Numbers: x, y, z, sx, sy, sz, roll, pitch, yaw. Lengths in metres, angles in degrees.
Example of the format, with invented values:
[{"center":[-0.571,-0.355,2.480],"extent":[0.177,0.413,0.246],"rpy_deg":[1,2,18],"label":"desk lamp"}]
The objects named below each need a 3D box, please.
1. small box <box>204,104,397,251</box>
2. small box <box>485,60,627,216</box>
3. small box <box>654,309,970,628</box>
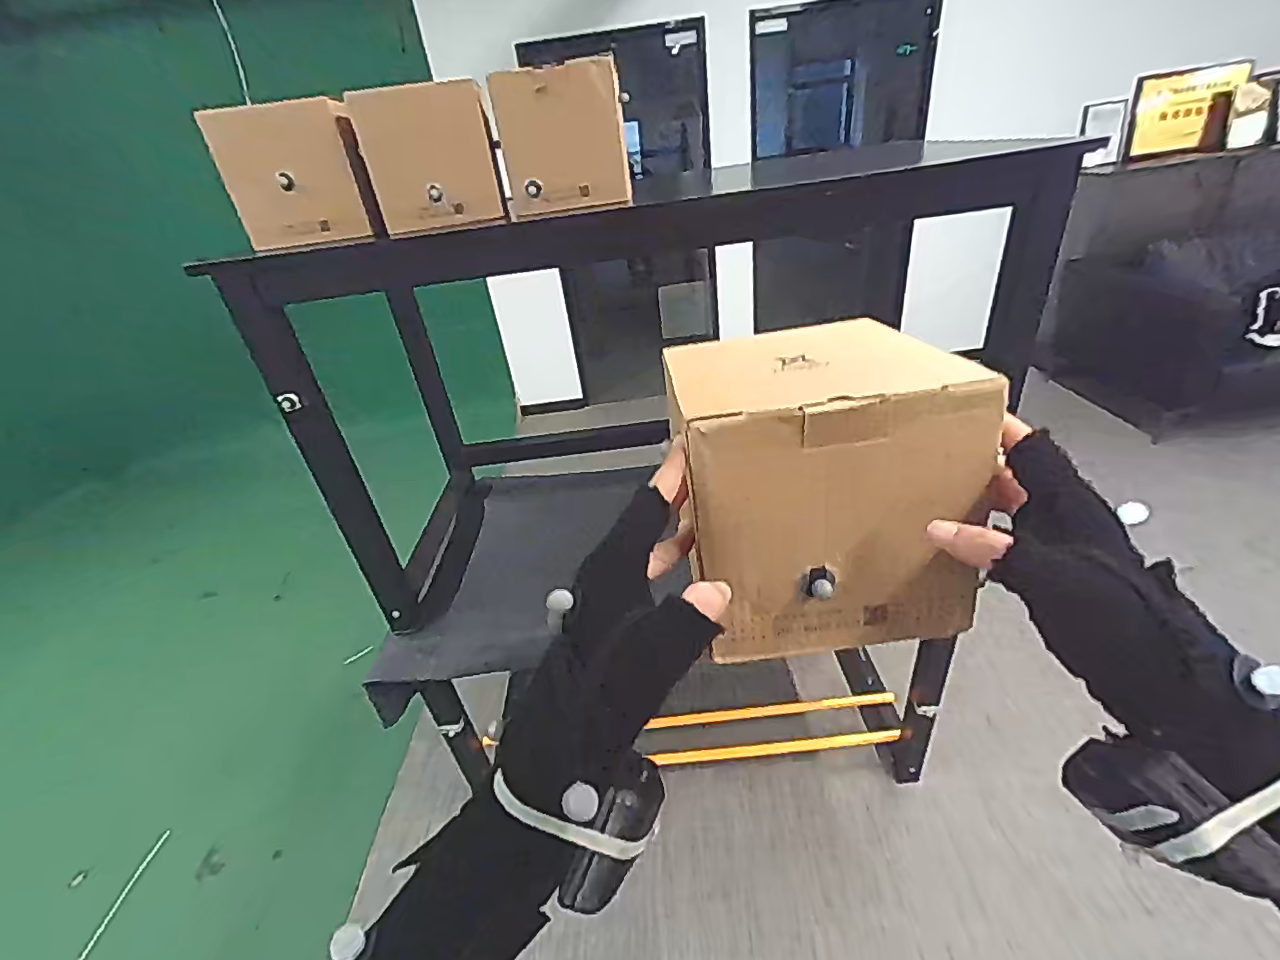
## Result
[{"center":[-0.491,-0.450,0.818],"extent":[0.168,0.176,0.179],"rpy_deg":[-9,30,-5],"label":"small box"},{"center":[-0.112,-0.501,0.812],"extent":[0.168,0.176,0.179],"rpy_deg":[-6,30,4],"label":"small box"},{"center":[0.102,-0.019,0.395],"extent":[0.168,0.176,0.179],"rpy_deg":[-8,25,2],"label":"small box"}]
